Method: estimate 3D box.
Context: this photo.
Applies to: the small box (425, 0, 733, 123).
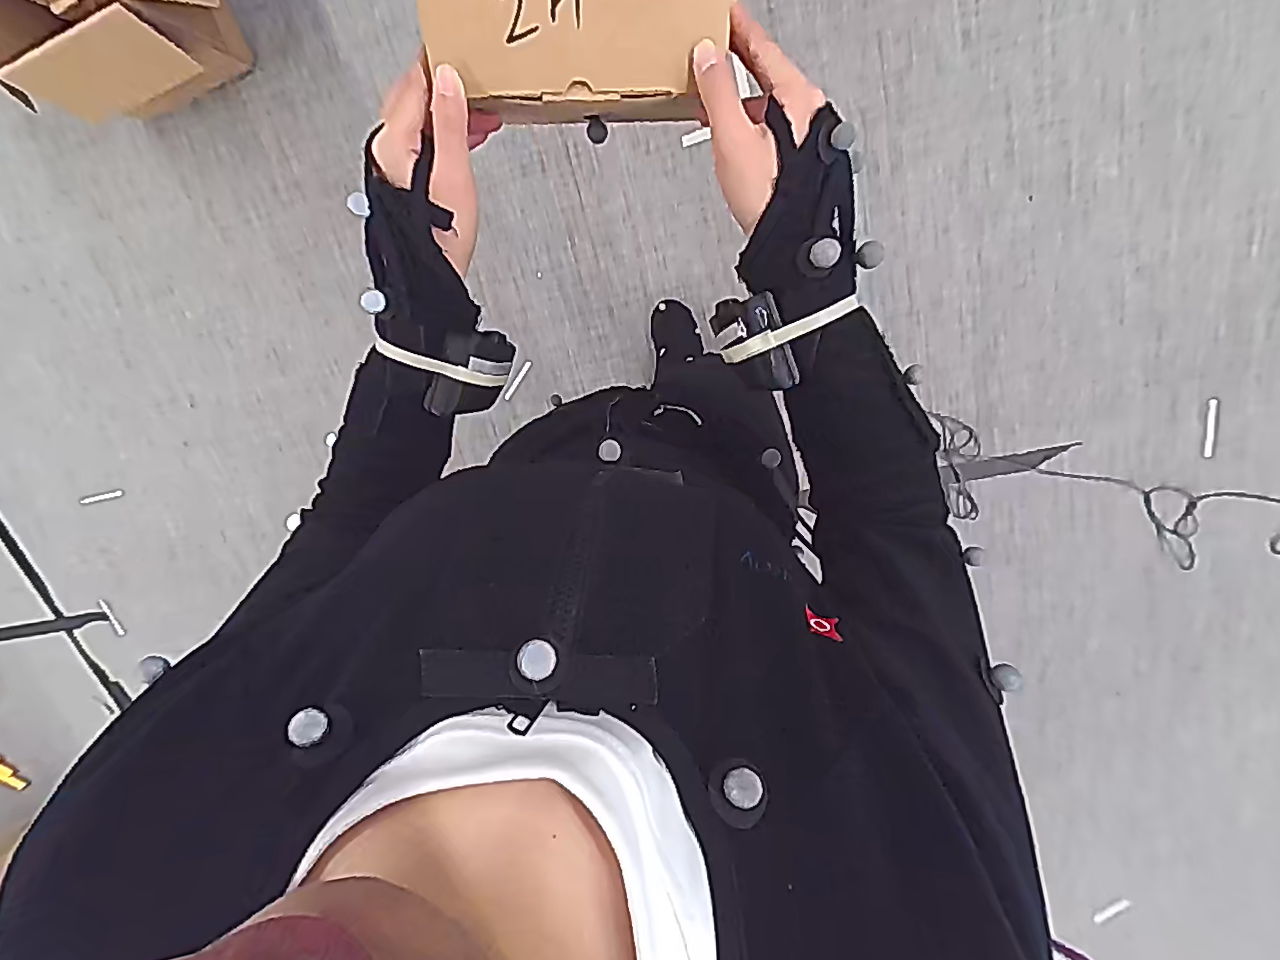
[{"bbox_3d":[-0.032,-0.335,0.333,0.168,0.176,0.179,0,118,1],"label":"small box"}]
